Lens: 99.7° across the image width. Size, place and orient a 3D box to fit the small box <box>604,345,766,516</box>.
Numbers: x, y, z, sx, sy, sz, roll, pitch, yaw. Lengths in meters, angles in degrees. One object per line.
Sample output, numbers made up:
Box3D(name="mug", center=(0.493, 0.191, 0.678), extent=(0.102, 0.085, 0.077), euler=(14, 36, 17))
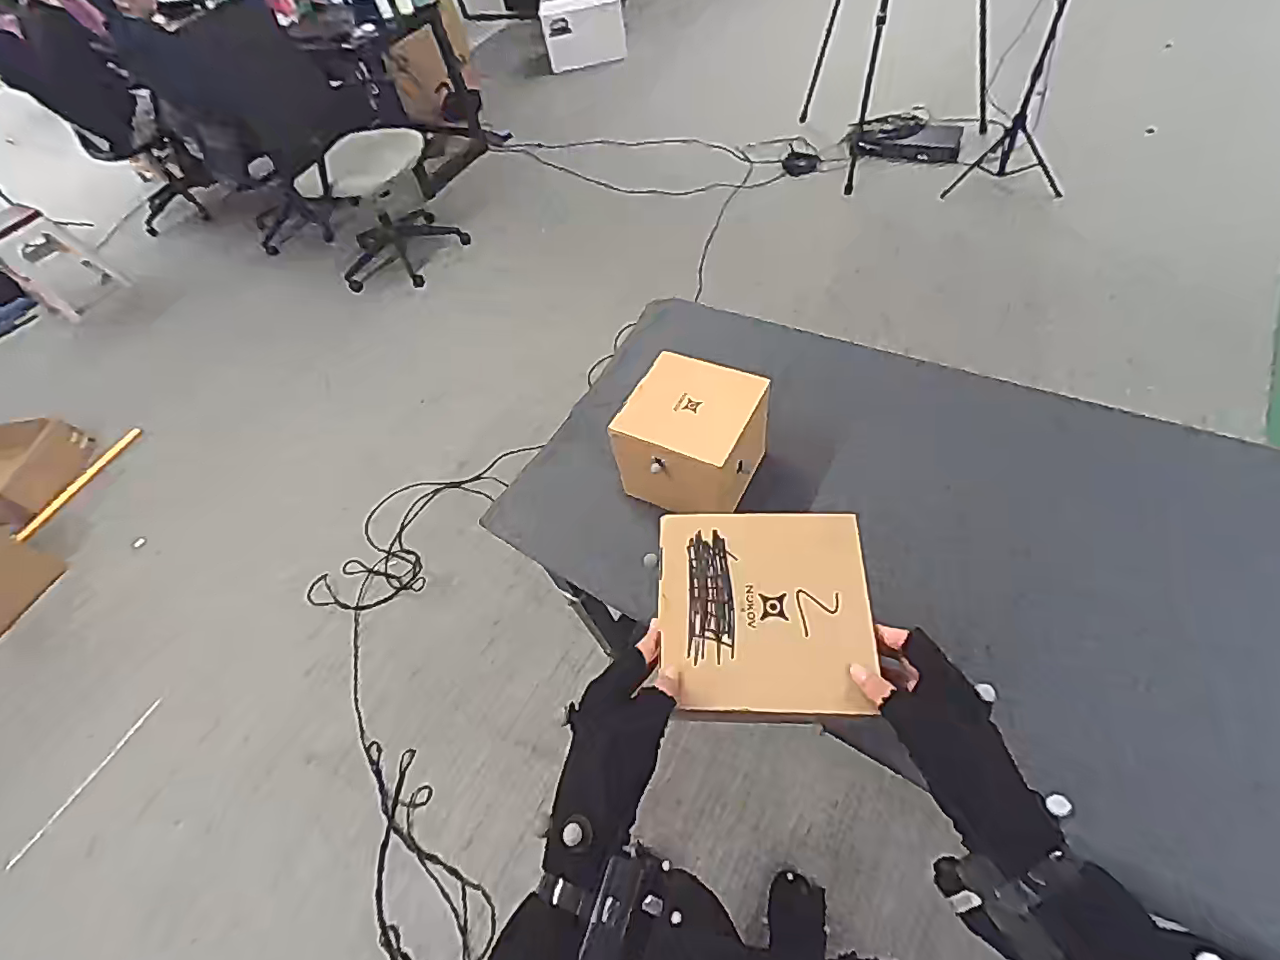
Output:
Box3D(name="small box", center=(0.075, -0.069, 0.807), extent=(0.179, 0.176, 0.168), euler=(20, 62, 23))
